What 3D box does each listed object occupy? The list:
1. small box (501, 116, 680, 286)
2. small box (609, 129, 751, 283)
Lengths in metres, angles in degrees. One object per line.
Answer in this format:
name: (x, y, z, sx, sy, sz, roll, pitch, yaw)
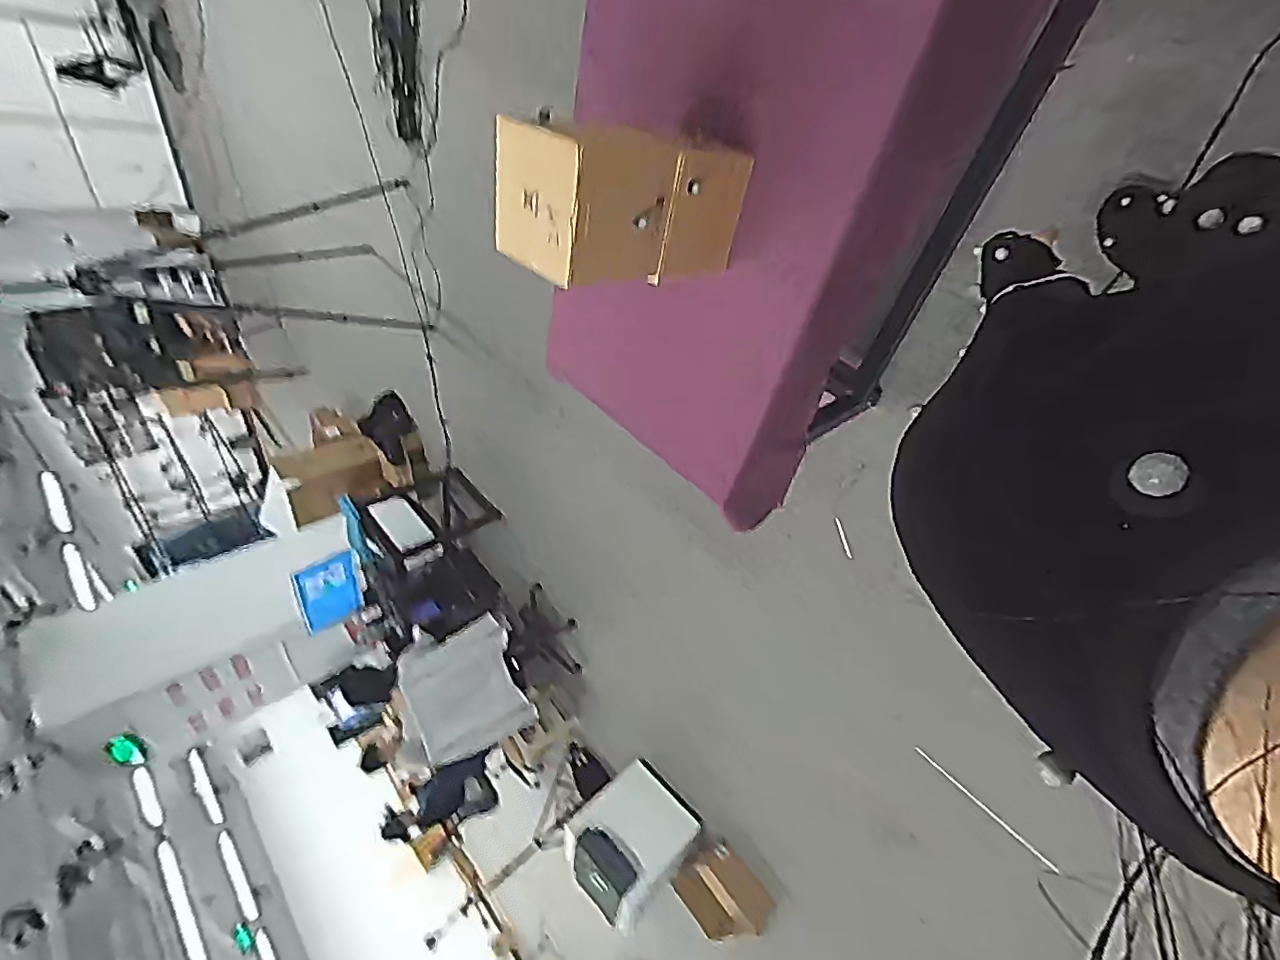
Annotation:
small box: (-0.073, -0.388, 0.755, 0.179, 0.176, 0.168, 38, 135, 30)
small box: (0.050, -0.433, 0.856, 0.168, 0.176, 0.179, 38, 134, 30)
